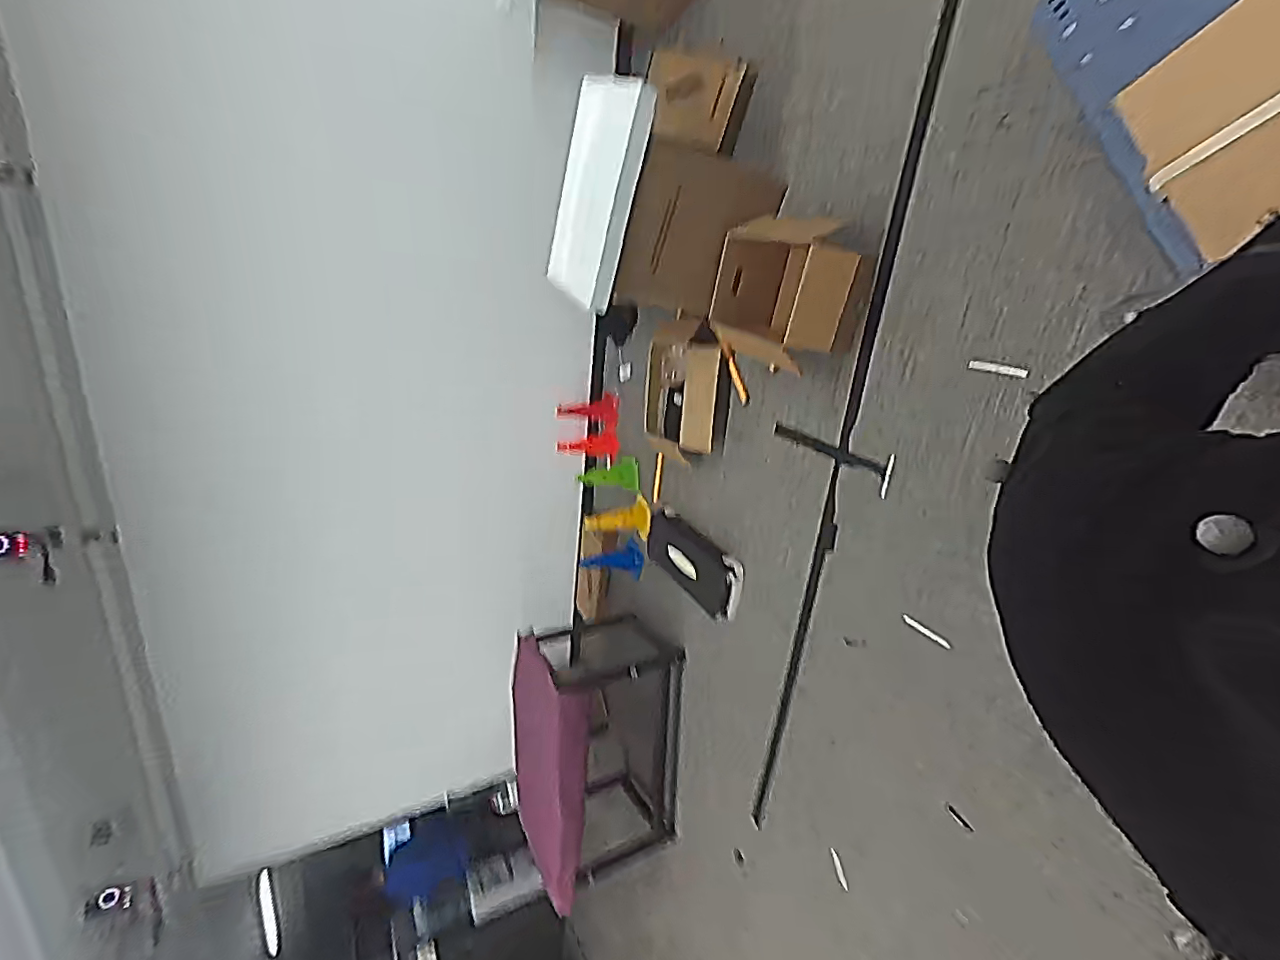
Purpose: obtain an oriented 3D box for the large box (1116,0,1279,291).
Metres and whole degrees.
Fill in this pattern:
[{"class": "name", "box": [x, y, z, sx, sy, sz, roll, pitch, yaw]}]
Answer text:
[{"class": "large box", "box": [0.973, -0.508, 0.697, 0.408, 0.320, 0.320, -37, 63, 55]}]
